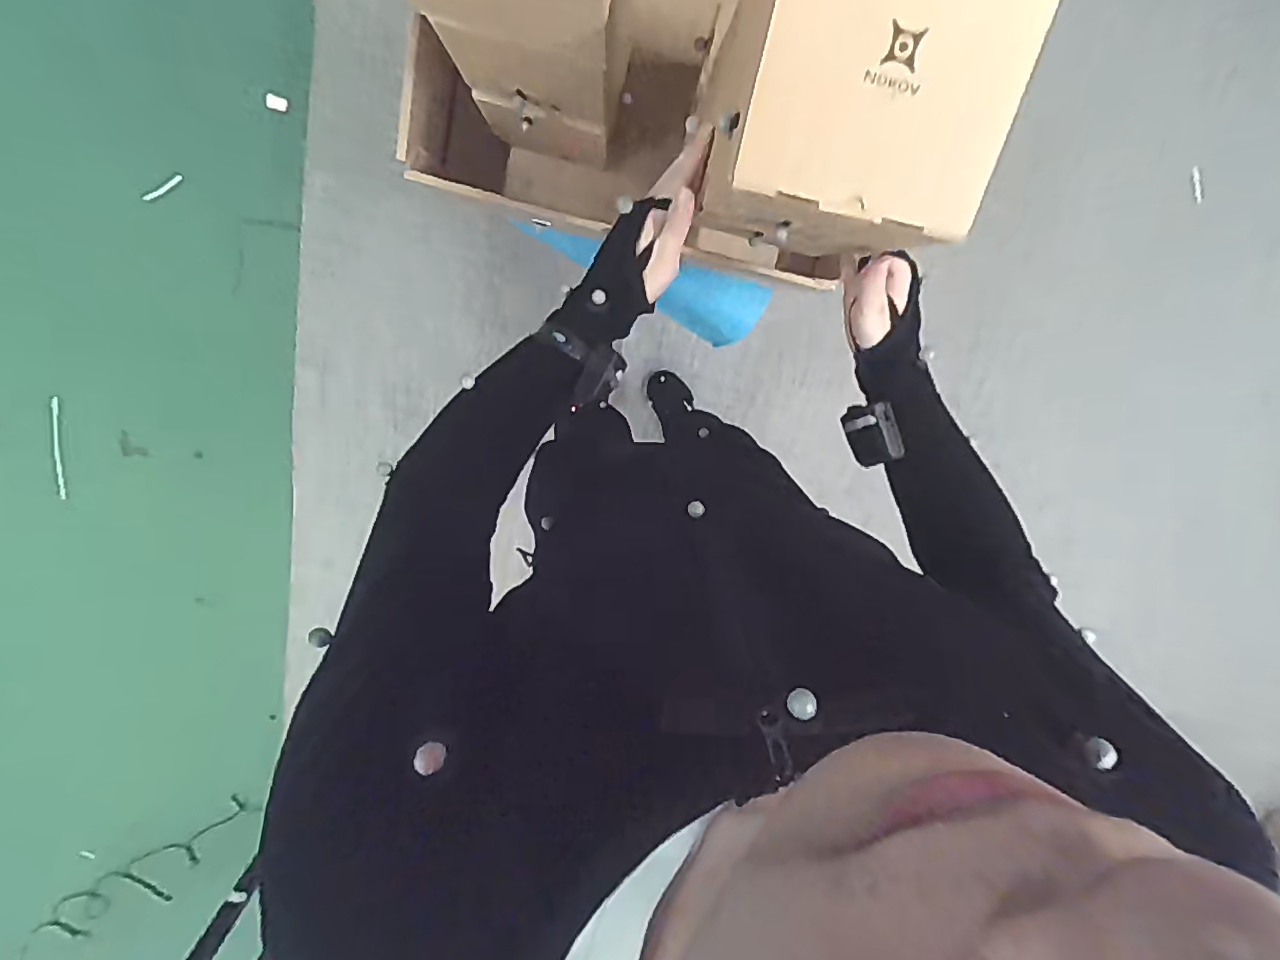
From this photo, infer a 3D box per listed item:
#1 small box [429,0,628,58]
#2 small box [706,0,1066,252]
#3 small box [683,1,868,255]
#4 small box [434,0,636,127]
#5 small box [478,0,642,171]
[{"bbox_3d":[-0.087,-0.453,0.392,0.179,0.176,0.168,13,105,-5],"label":"small box"},{"bbox_3d":[0.154,-0.278,0.397,0.168,0.176,0.179,10,111,-6],"label":"small box"},{"bbox_3d":[0.151,-0.334,0.549,0.179,0.176,0.168,12,110,-5],"label":"small box"},{"bbox_3d":[-0.092,-0.502,0.550,0.168,0.176,0.179,12,105,-6],"label":"small box"},{"bbox_3d":[-0.098,-0.540,0.708,0.168,0.176,0.179,13,104,-5],"label":"small box"}]
